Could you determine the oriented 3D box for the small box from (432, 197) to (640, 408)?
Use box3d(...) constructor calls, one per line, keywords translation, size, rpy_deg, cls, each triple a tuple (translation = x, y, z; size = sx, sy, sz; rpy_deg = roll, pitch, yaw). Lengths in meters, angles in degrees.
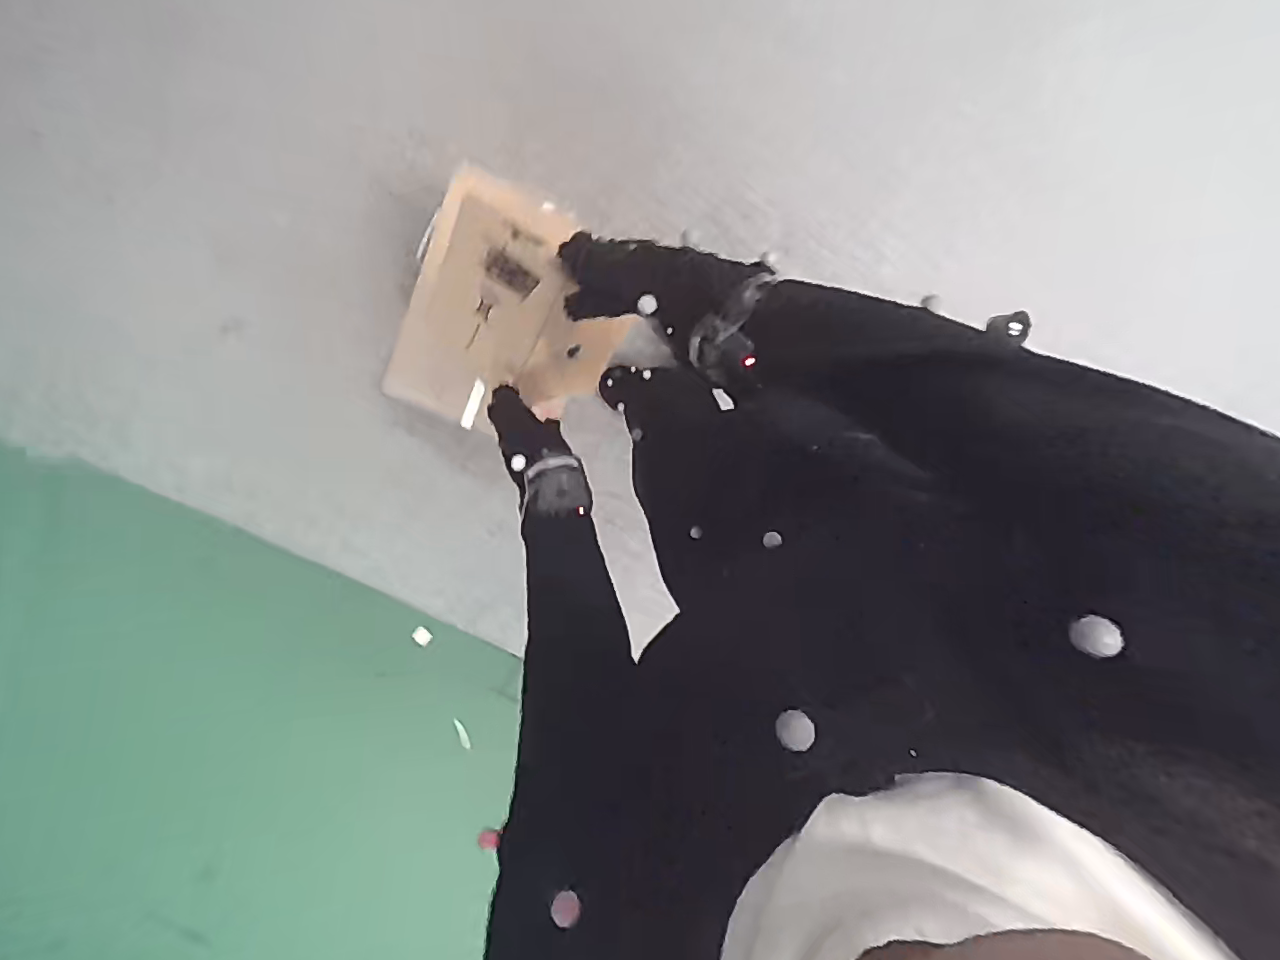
box3d(translation=(-0.124, -0.219, 0.685), size=(0.168, 0.176, 0.179), rpy_deg=(44, 124, 15), cls="small box")
